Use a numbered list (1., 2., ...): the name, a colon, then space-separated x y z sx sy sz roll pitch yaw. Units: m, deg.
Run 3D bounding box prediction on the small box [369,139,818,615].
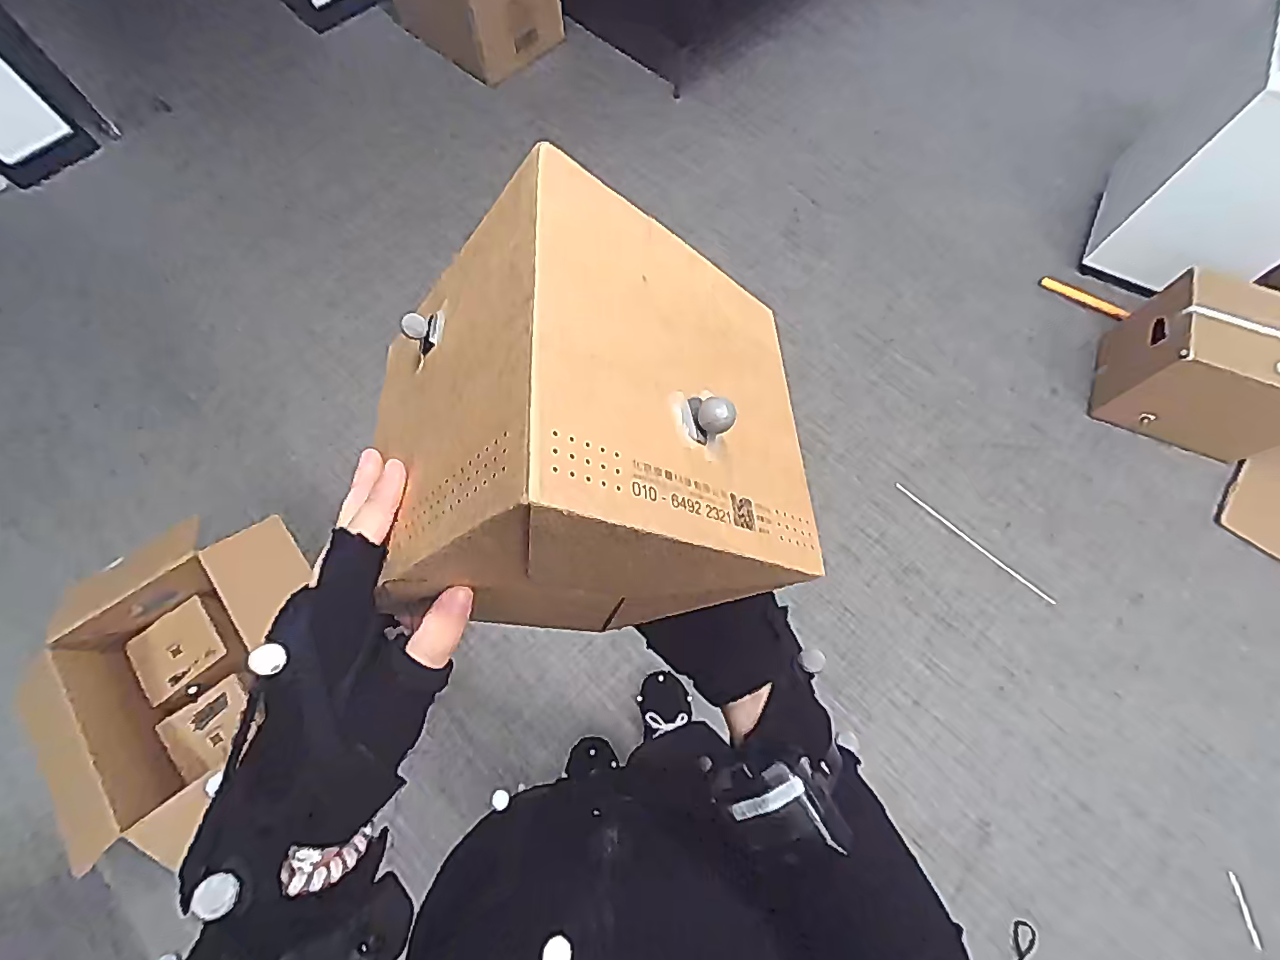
1. small box: -0.030 -0.023 0.299 0.168 0.179 0.176 18 58 -39
